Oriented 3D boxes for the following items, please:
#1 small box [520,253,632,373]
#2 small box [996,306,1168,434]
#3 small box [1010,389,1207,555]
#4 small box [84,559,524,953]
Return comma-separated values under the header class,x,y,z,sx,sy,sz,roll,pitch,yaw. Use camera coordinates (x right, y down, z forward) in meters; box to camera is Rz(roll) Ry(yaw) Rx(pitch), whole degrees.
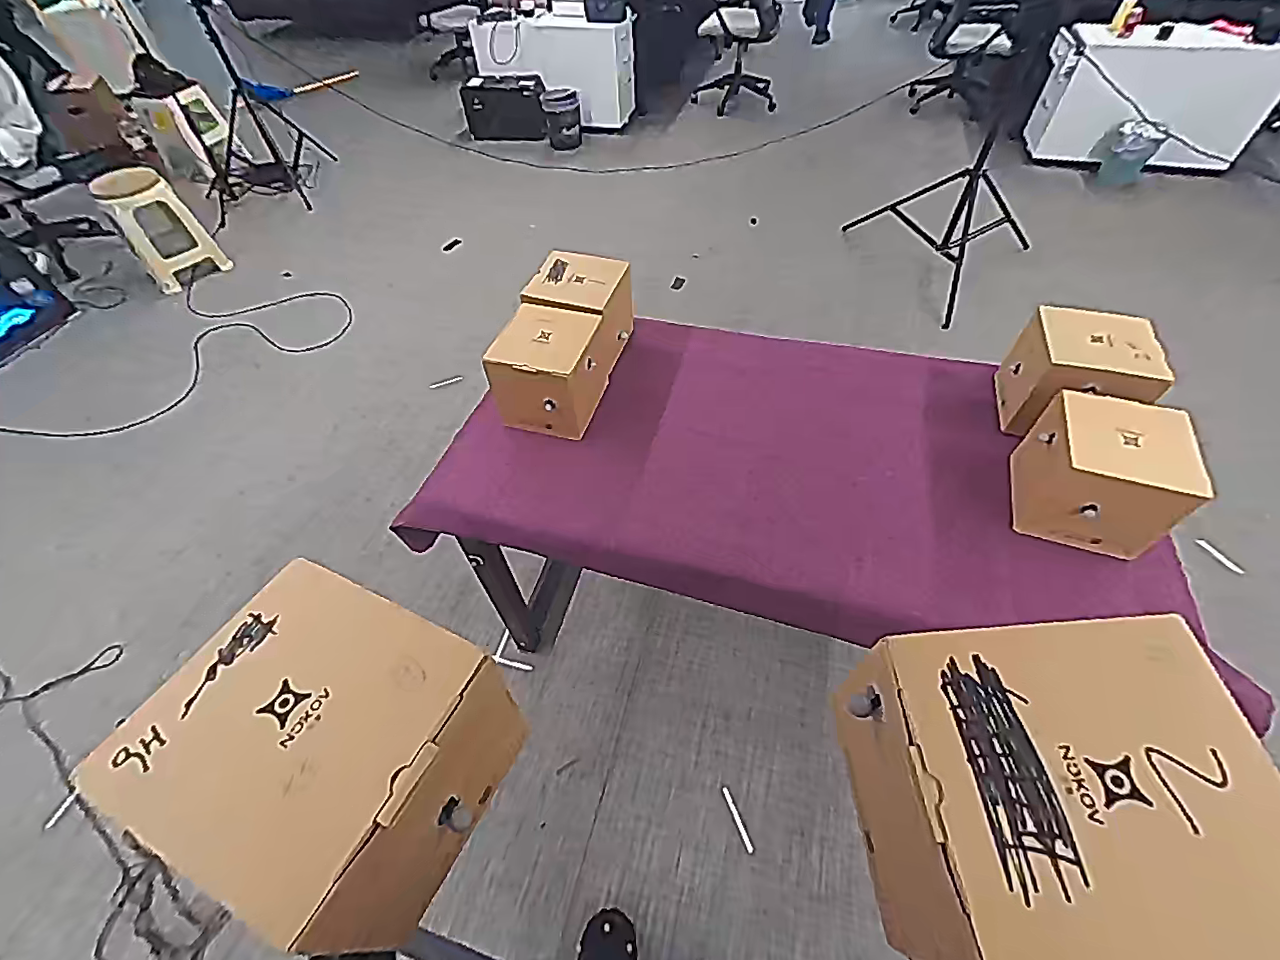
class,x,y,z,sx,sy,sz,roll,pitch,yaw
small box,-0.125,-0.348,1.138,0.179,0.176,0.168,14,55,12
small box,0.766,-0.183,0.967,0.179,0.176,0.168,13,54,11
small box,0.705,-0.010,0.841,0.168,0.176,0.179,15,53,15
small box,-0.205,0.192,0.390,0.179,0.176,0.168,21,53,16
